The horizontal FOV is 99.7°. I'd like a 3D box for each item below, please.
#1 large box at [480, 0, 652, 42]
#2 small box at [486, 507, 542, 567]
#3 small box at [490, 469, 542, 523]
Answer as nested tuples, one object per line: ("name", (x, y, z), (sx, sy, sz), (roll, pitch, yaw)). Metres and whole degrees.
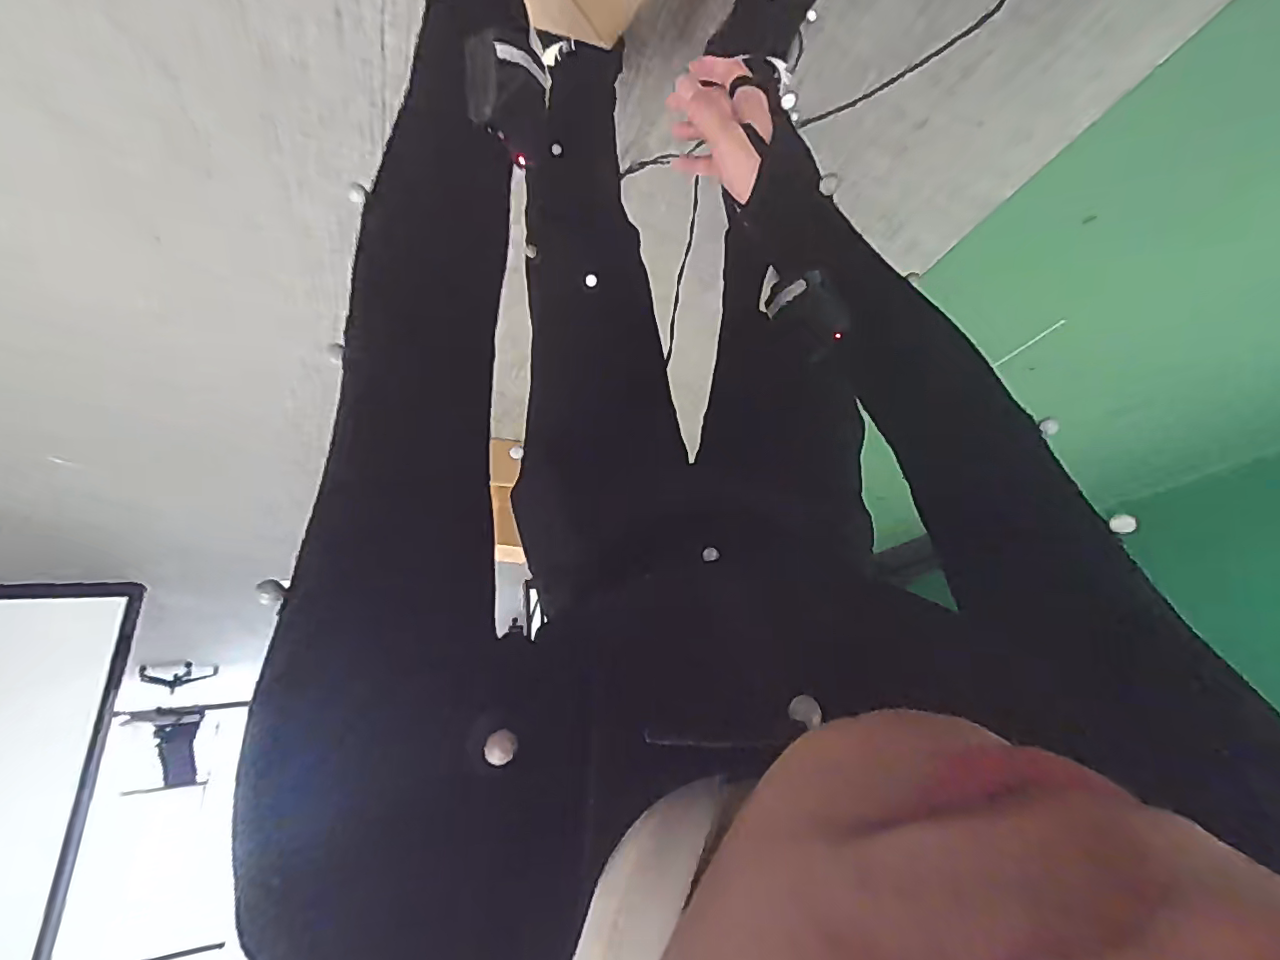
("large box", (-0.072, -0.667, 0.419), (0.408, 0.320, 0.320), (-52, 143, 13))
("small box", (-0.484, 0.223, 2.089), (0.168, 0.176, 0.179), (12, 149, -30))
("small box", (-0.493, 0.075, 2.158), (0.168, 0.176, 0.179), (10, 149, -26))
